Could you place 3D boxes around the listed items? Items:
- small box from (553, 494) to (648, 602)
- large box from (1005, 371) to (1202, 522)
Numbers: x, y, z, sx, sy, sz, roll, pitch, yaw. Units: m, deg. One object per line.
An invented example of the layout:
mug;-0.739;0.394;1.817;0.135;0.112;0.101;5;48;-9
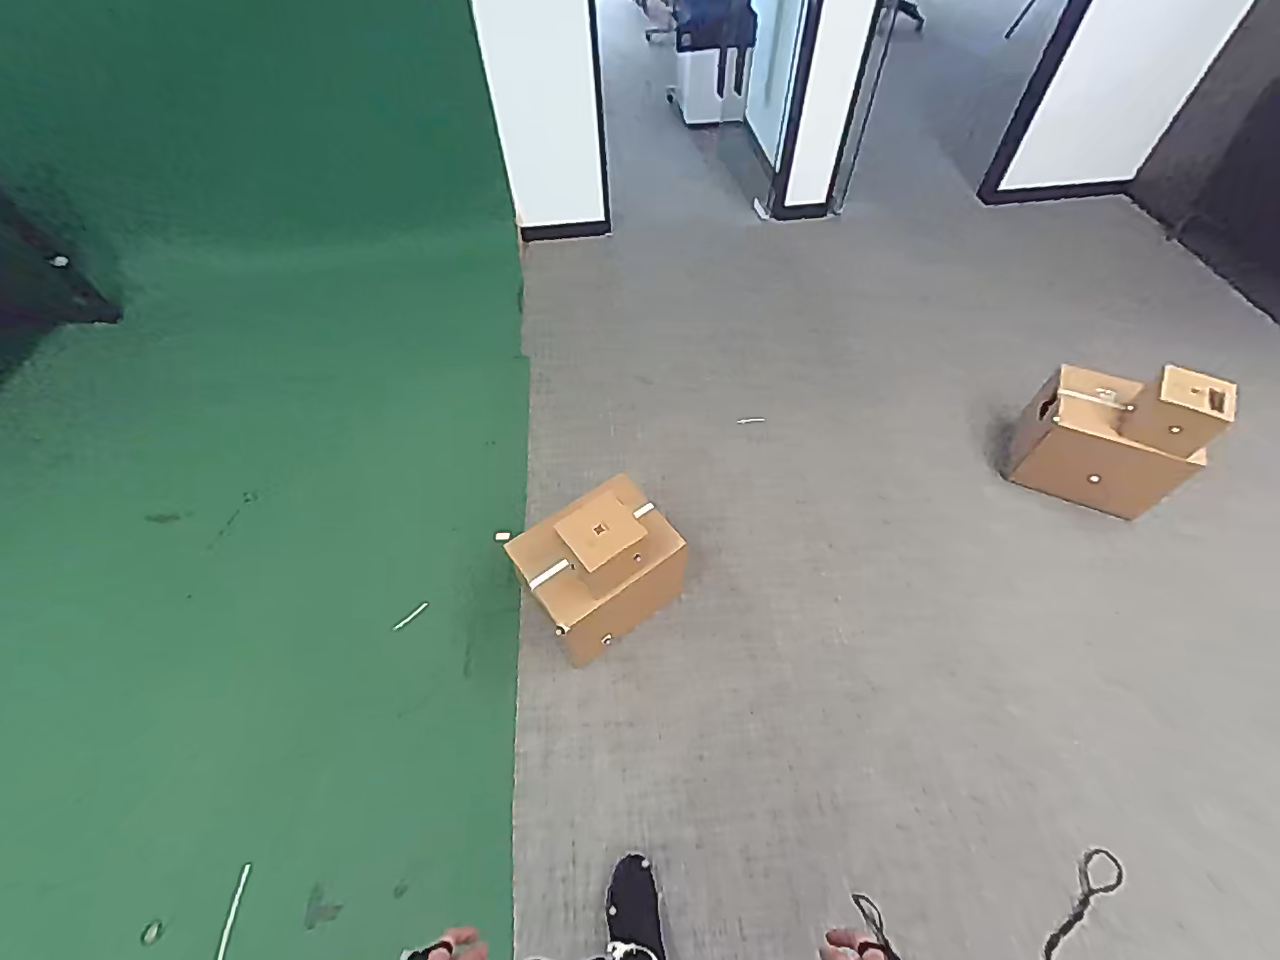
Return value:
small box;-0.097;0.173;1.361;0.179;0.176;0.168;-32;60;-20
large box;1.543;-0.113;1.836;0.408;0.320;0.320;20;56;17
